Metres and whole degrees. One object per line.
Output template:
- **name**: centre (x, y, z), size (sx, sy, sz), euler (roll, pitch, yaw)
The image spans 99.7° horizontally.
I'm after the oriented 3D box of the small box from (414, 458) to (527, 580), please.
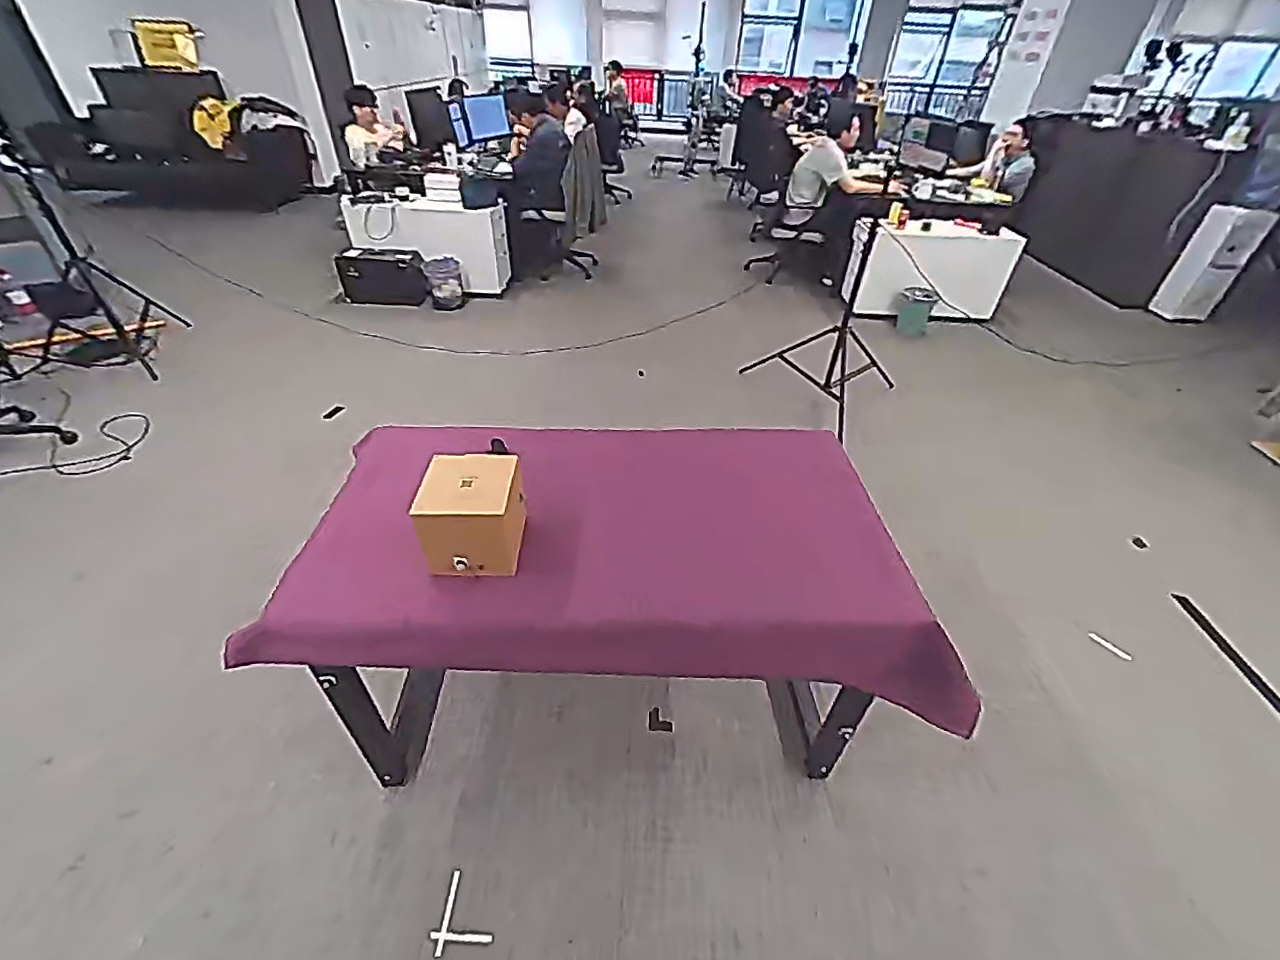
- **small box**: centre (-0.318, 0.074, 1.054), size (0.168, 0.176, 0.179), euler (-1, 39, -3)
